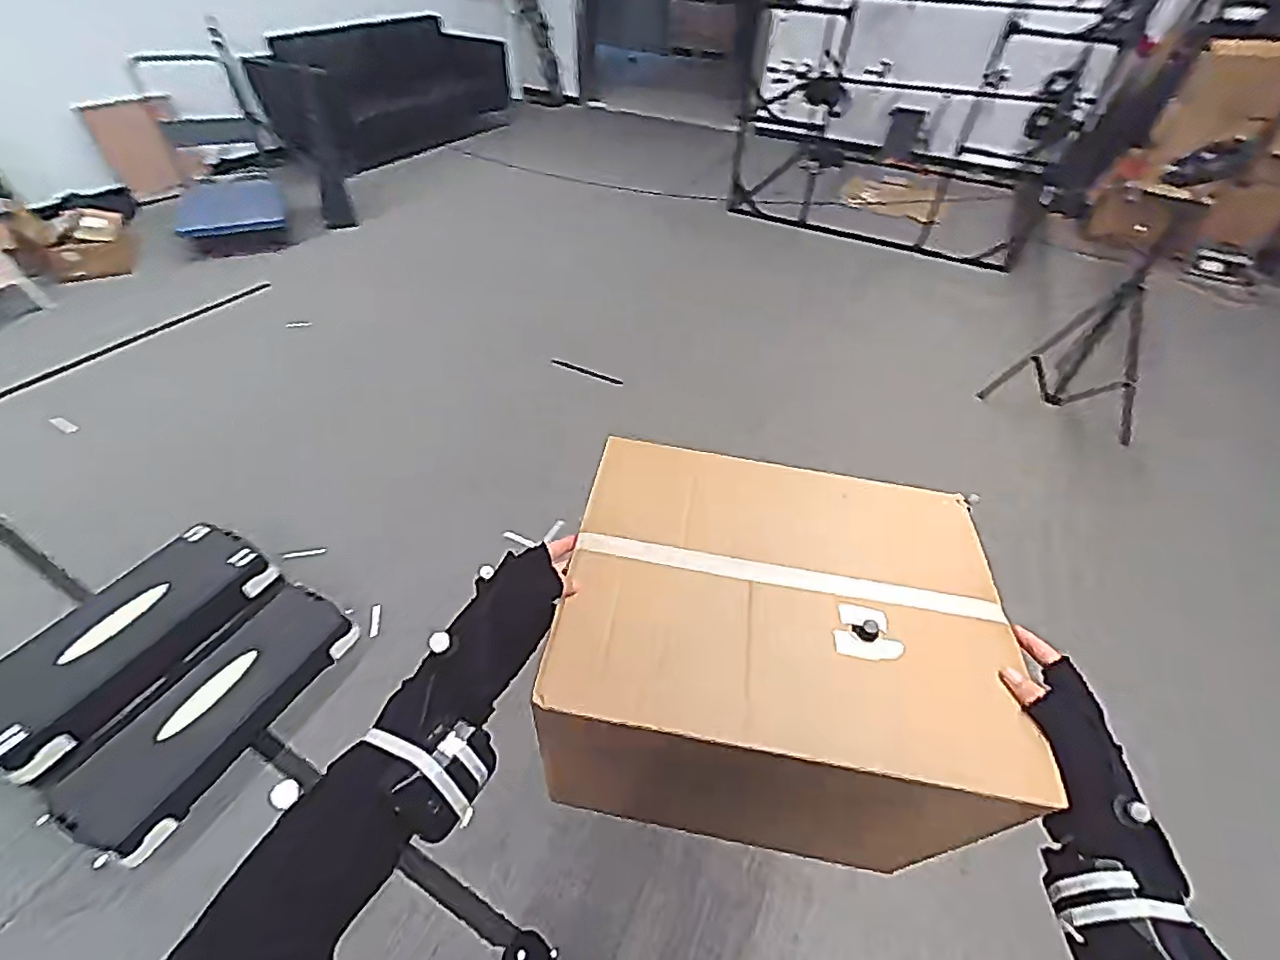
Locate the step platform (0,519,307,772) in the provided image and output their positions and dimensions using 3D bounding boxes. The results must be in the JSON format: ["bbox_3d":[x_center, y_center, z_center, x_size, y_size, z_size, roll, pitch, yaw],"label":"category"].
[{"bbox_3d":[-1.323,0.414,1.504,0.286,0.204,0.684,20,46,17],"label":"step platform"}]

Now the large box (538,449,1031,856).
[{"bbox_3d":[0.117,0.202,0.634,0.408,0.320,0.320,9,47,2],"label":"large box"}]
